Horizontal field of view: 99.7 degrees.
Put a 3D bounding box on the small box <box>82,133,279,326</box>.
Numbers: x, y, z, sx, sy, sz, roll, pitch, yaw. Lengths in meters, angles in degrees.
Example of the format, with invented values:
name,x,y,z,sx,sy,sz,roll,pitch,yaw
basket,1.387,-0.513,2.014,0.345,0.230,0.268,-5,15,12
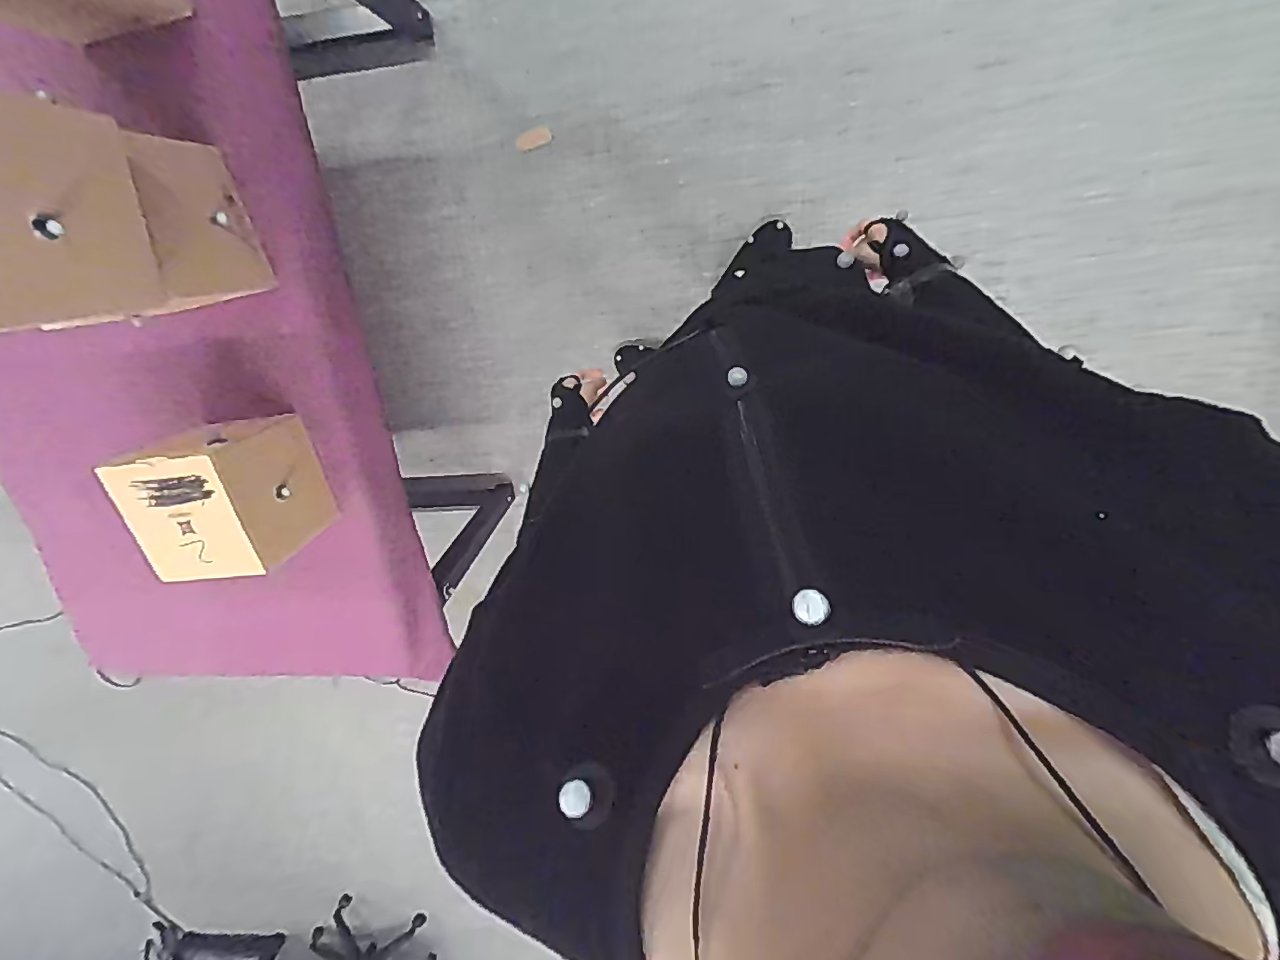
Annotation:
name,x,y,z,sx,sy,sz,roll,pitch,yaw
small box,-0.586,-0.284,0.638,0.179,0.176,0.168,-8,113,10

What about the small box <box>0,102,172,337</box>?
name,x,y,z,sx,sy,sz,roll,pitch,yaw
small box,-0.581,-0.234,0.479,0.168,0.176,0.179,5,115,5
